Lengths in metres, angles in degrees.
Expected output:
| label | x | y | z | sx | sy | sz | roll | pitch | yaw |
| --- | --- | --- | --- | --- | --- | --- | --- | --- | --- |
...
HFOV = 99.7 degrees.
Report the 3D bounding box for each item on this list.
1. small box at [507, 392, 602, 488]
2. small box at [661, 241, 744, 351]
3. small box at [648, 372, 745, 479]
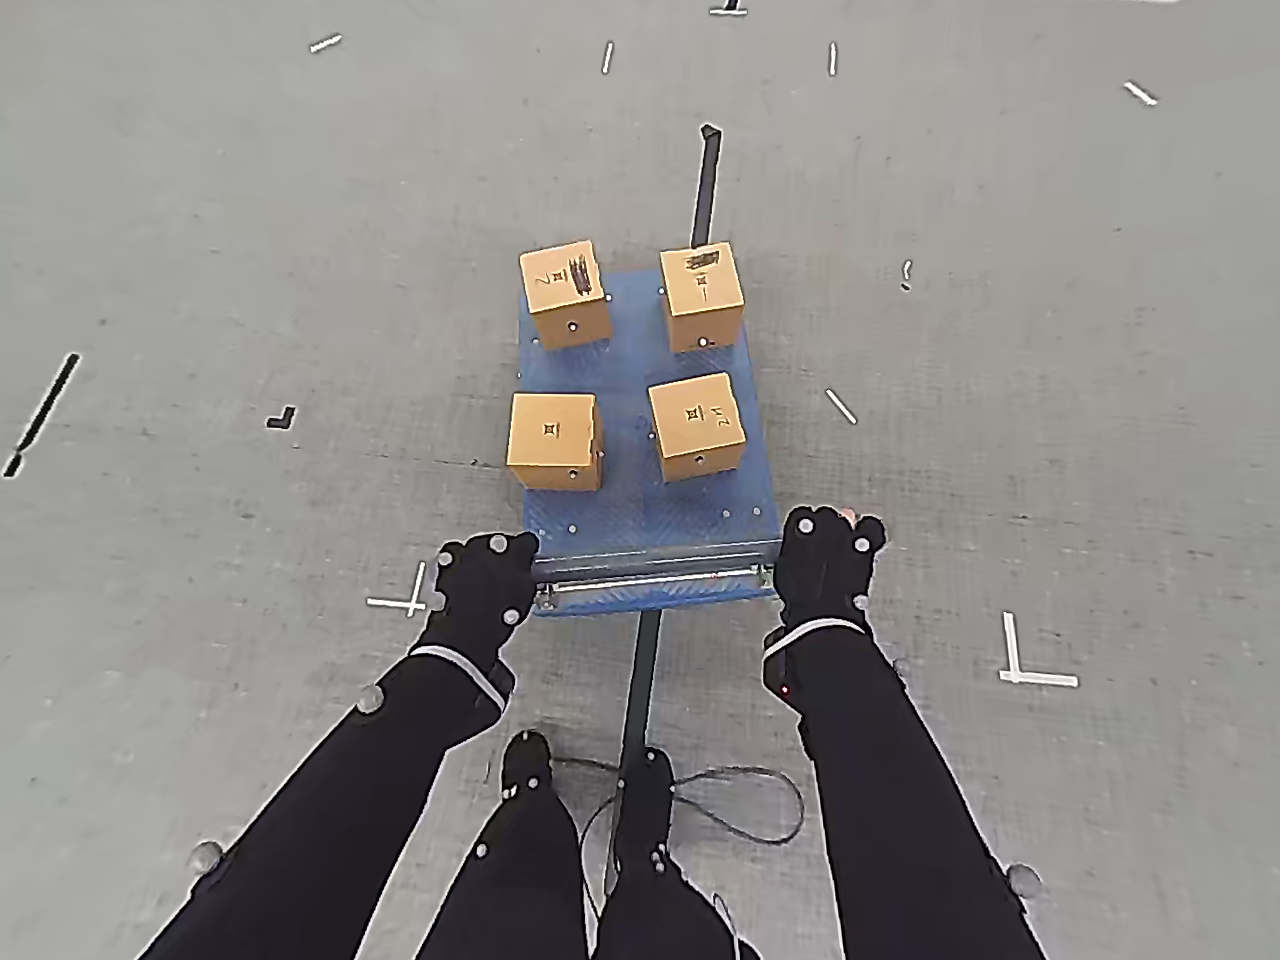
| label | x | y | z | sx | sy | sz | roll | pitch | yaw |
| --- | --- | --- | --- | --- | --- | --- | --- | --- | --- |
| small box | -0.182 | -0.083 | 1.200 | 0.179 | 0.176 | 0.168 | 1 | 72 | 1 |
| small box | 0.142 | -0.435 | 1.295 | 0.168 | 0.176 | 0.179 | -9 | 74 | 0 |
| small box | 0.120 | -0.113 | 1.195 | 0.179 | 0.176 | 0.168 | -11 | 73 | -1 |
